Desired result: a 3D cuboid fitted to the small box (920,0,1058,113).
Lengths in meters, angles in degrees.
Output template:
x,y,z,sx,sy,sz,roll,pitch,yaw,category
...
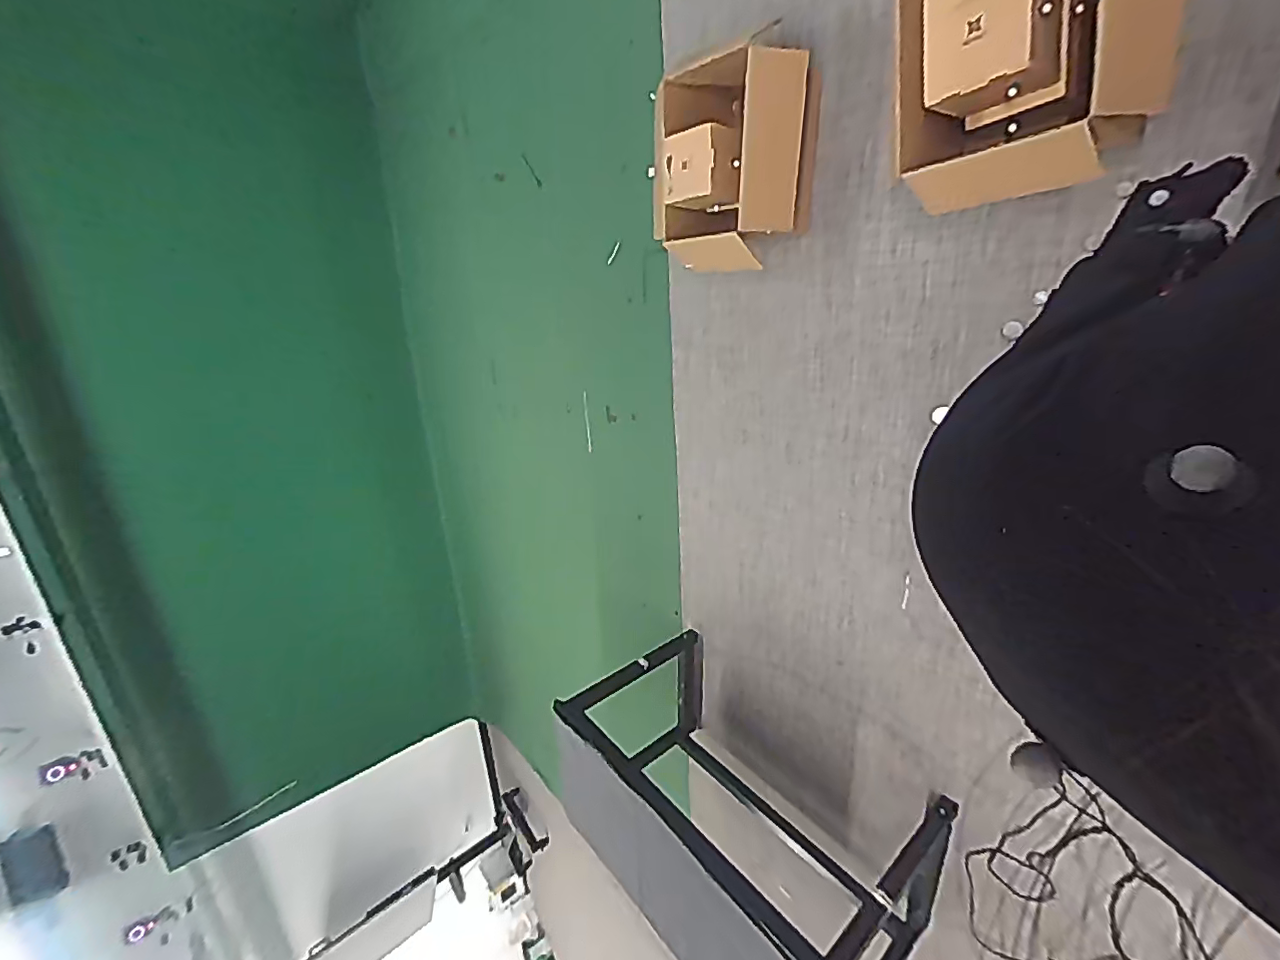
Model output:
x,y,z,sx,sy,sz,roll,pitch,yaw,category
0.619,-0.780,0.960,0.168,0.176,0.179,9,113,49,small box
